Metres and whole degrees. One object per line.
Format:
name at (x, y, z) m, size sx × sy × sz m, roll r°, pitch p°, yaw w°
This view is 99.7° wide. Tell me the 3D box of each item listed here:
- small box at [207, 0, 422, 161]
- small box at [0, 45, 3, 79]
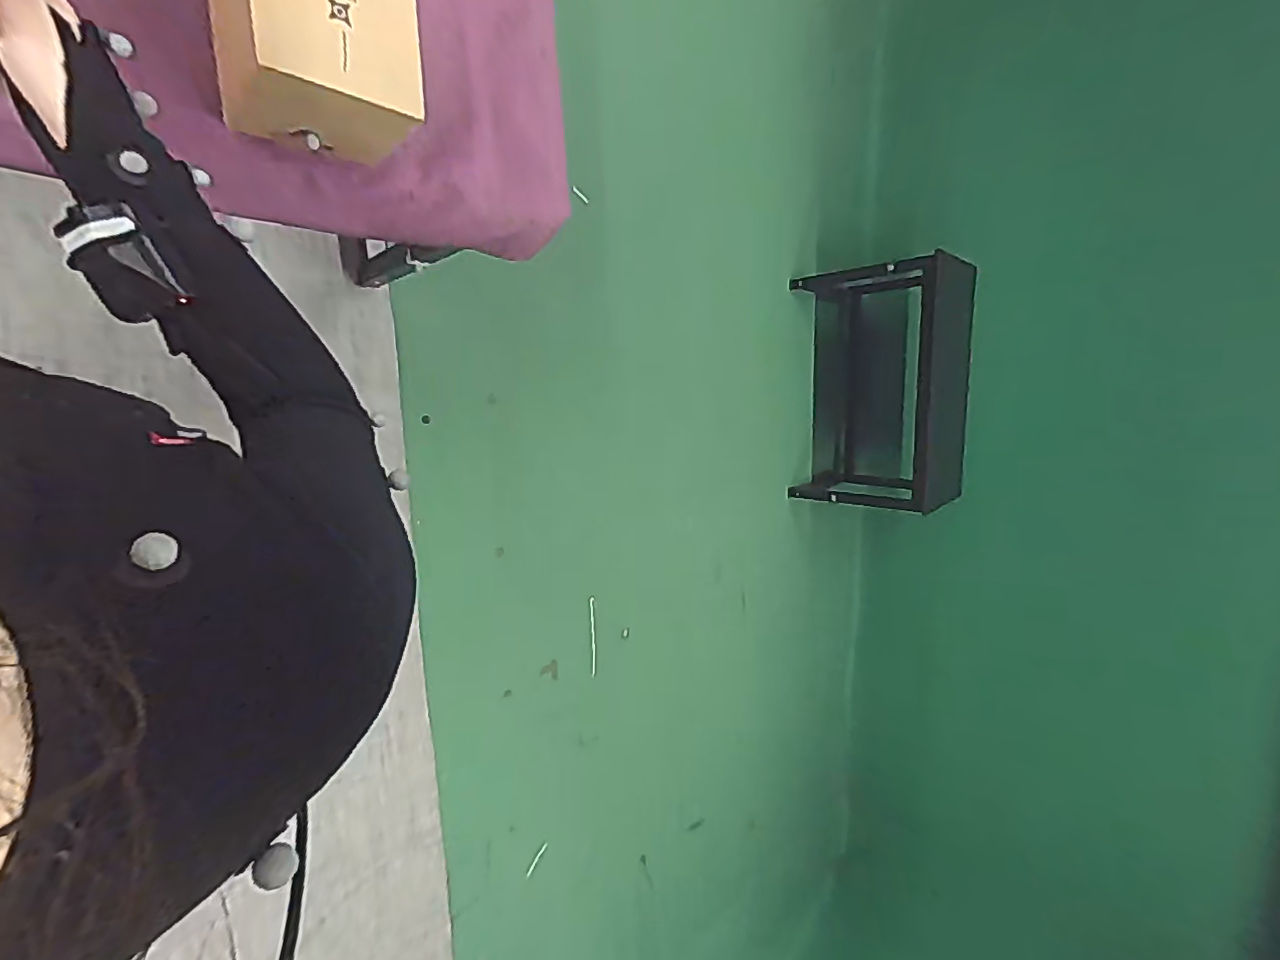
small box at (-0.369, -0.499, 0.610) m, size 0.168 × 0.176 × 0.179 m, roll -10°, pitch 103°, yaw -45°
small box at (-0.420, -0.321, 0.234) m, size 0.168 × 0.176 × 0.179 m, roll -9°, pitch 106°, yaw -45°
